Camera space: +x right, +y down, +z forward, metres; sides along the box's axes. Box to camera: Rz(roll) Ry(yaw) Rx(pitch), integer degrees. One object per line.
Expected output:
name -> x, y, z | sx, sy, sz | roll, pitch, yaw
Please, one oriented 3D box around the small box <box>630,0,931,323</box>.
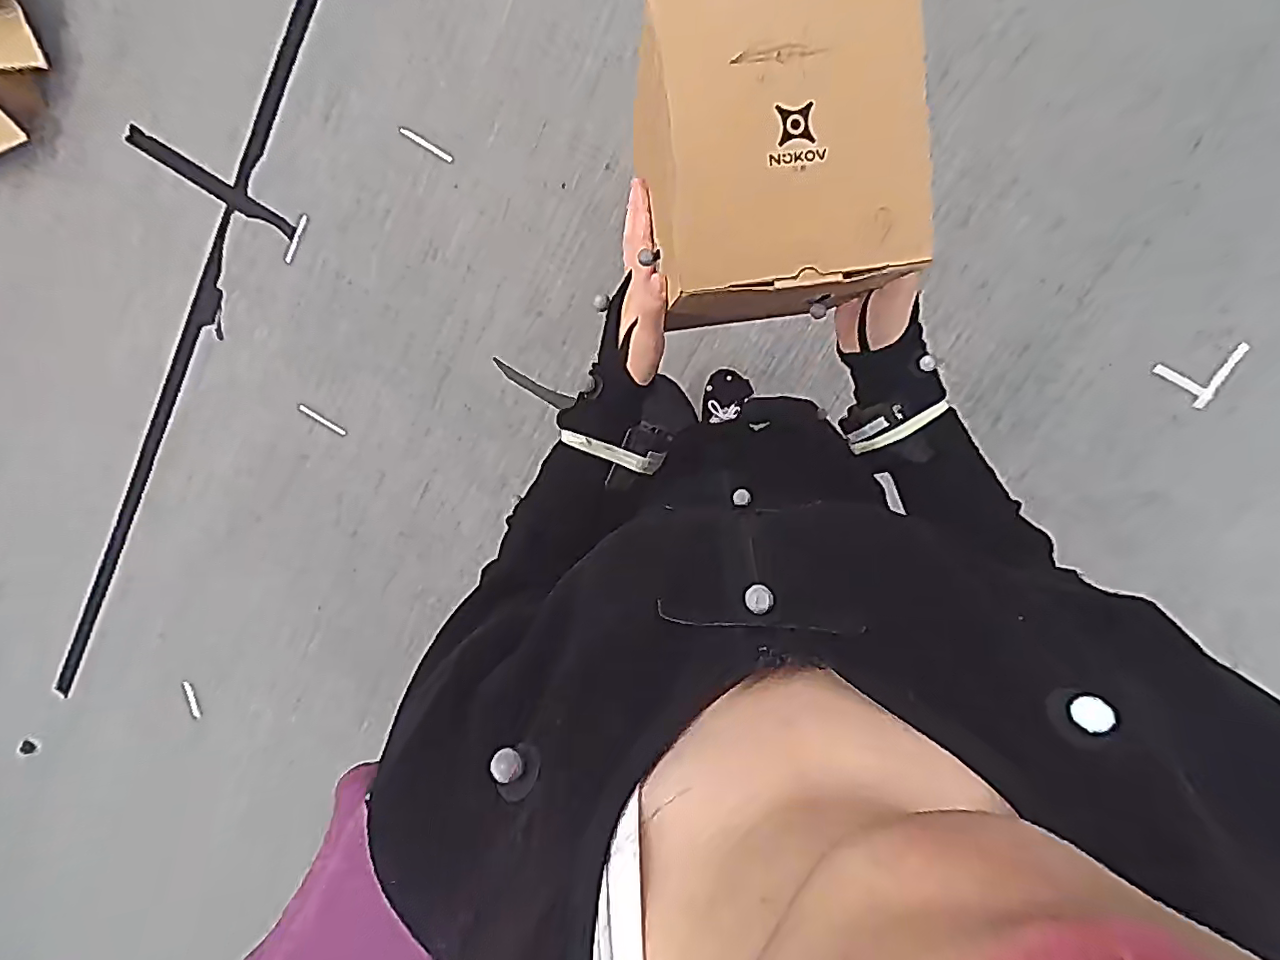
small box -> 0.087, -0.221, 0.404 | 0.168, 0.176, 0.179 | -9, 97, -4
